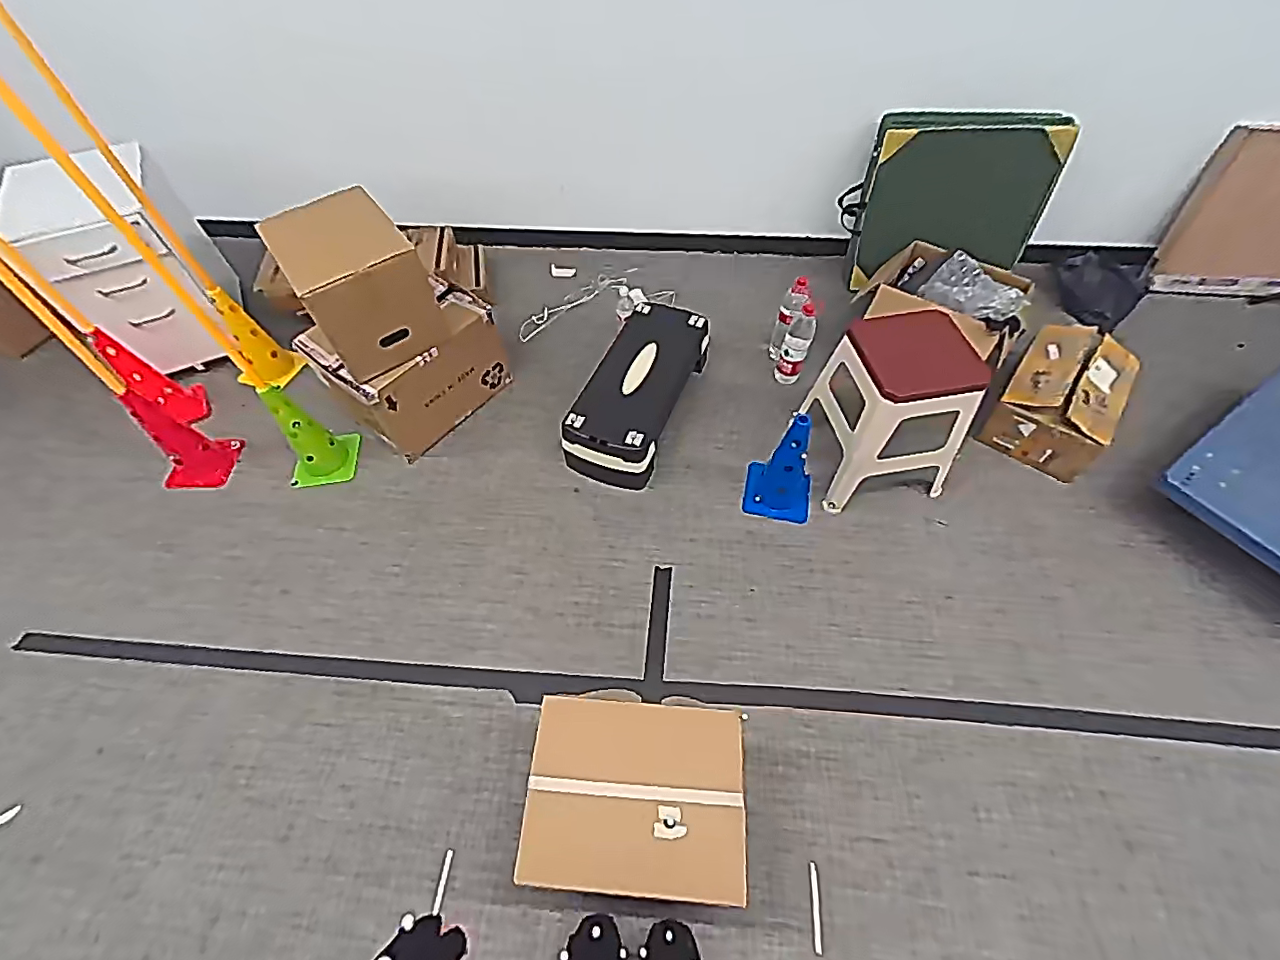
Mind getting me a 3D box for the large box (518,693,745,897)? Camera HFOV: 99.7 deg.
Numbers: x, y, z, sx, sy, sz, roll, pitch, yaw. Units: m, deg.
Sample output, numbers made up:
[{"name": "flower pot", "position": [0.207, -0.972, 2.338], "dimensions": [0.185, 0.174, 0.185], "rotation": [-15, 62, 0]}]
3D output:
[{"name": "large box", "position": [-0.009, 0.658, 1.136], "dimensions": [0.408, 0.320, 0.320], "rotation": [4, 57, 2]}]
